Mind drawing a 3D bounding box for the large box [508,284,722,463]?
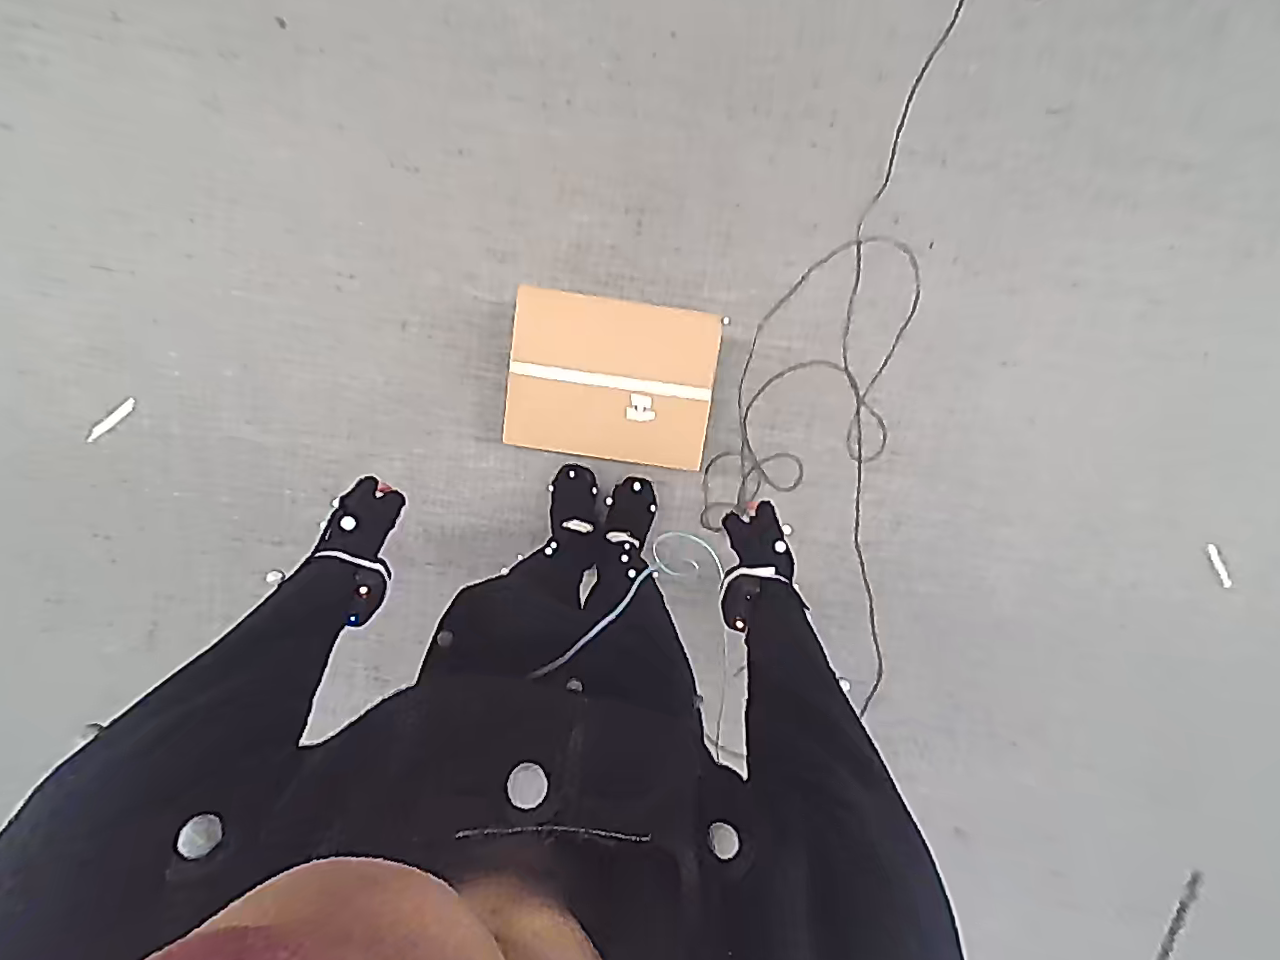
[{"bbox_3d":[-0.058,-0.230,1.228,0.408,0.320,0.320,8,99,-2],"label":"large box"}]
